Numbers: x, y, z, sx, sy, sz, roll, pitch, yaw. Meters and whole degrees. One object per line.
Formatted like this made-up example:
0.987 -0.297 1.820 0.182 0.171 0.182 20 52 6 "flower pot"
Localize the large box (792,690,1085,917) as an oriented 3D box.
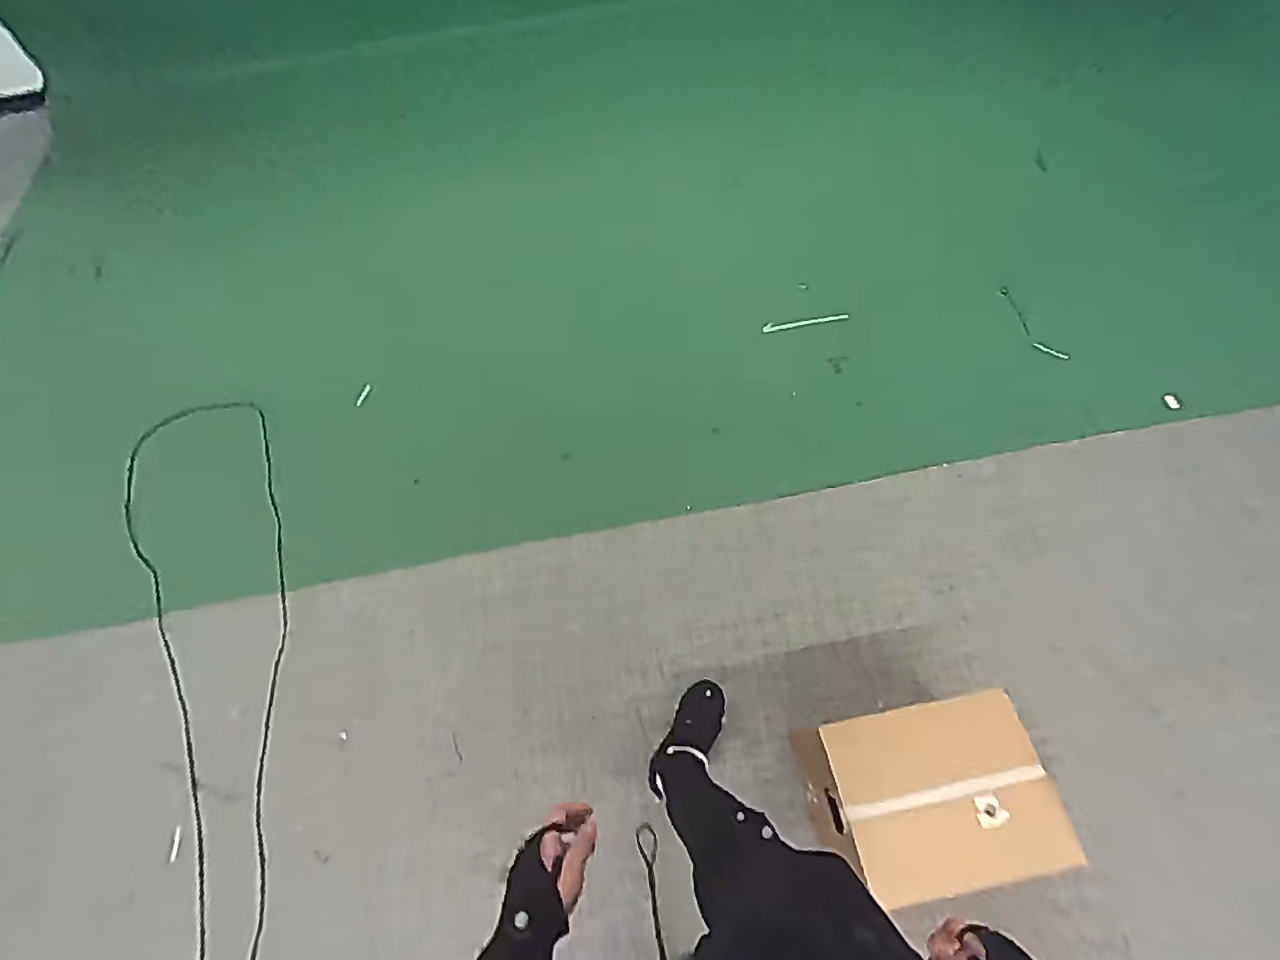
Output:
0.595 0.679 1.171 0.408 0.320 0.320 -11 62 -2 "large box"
